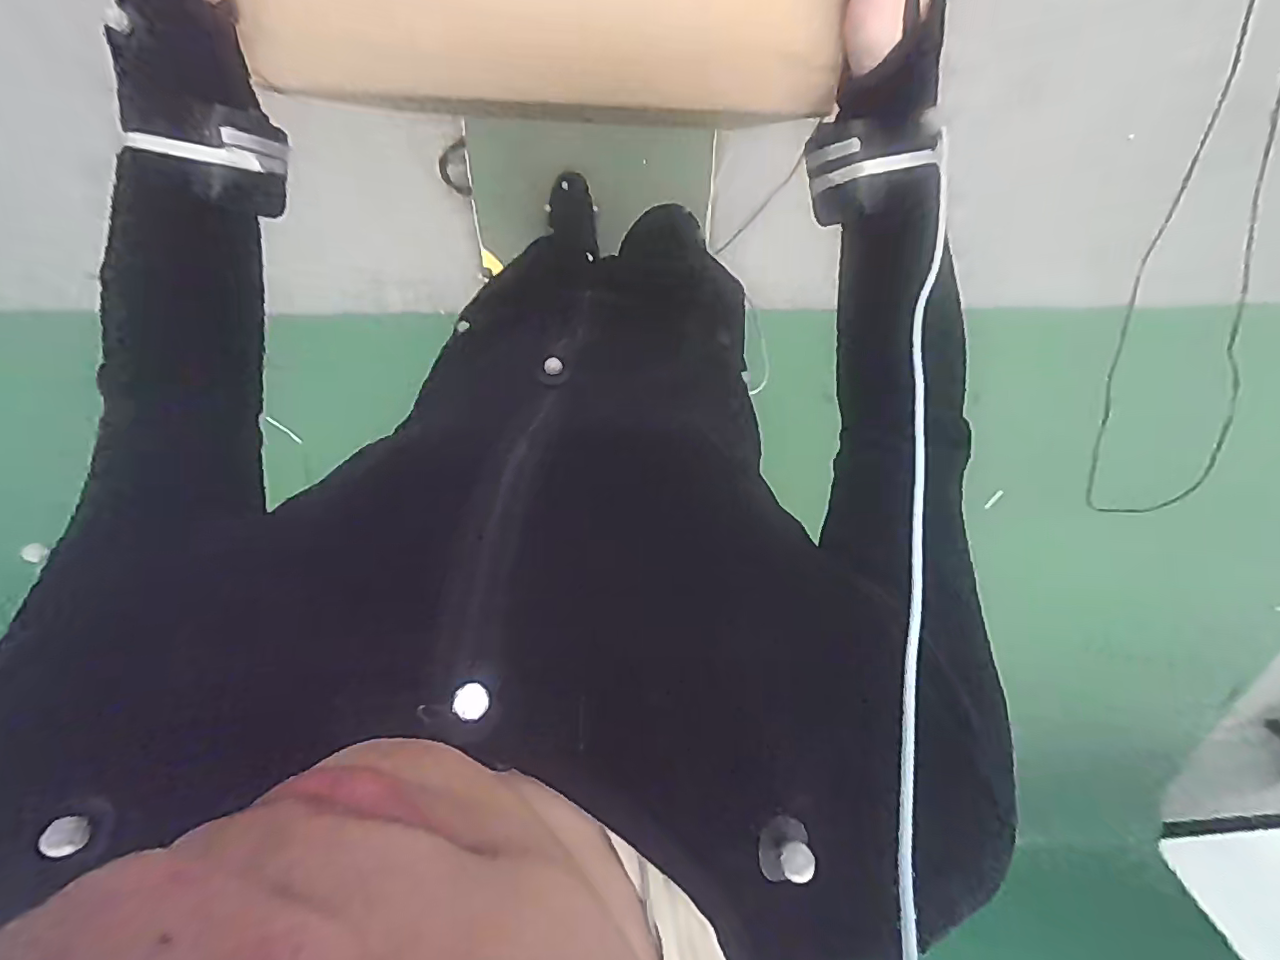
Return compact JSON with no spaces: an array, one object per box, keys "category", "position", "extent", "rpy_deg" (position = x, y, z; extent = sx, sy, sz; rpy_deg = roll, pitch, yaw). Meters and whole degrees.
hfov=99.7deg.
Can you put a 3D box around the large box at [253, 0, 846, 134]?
[{"category":"large box","position":[-0.062,-0.475,0.443],"extent":[0.408,0.320,0.320],"rpy_deg":[1,122,-3]}]
